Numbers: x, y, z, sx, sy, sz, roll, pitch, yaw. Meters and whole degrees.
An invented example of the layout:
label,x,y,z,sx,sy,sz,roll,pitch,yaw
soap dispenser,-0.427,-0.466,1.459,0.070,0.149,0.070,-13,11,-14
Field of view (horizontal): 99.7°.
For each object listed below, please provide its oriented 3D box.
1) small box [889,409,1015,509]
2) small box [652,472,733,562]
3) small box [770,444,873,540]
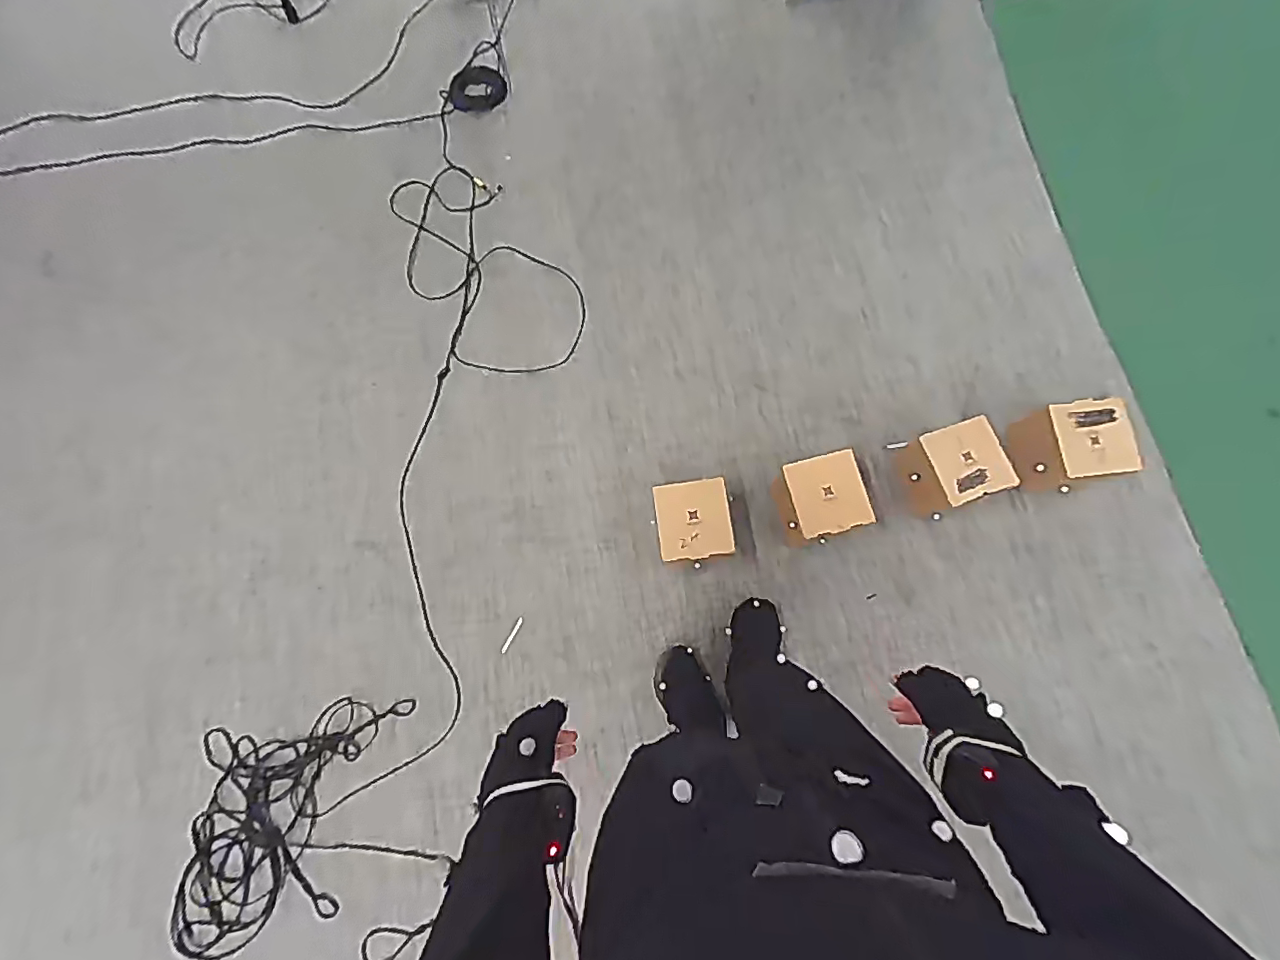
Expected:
label,x,y,z,sx,sy,sz,roll,pitch,yaw
small box,0.730,-0.040,1.286,0.168,0.176,0.179,-19,76,-2
small box,0.121,0.094,1.290,0.168,0.176,0.179,-8,77,2
small box,0.421,0.034,1.287,0.168,0.176,0.179,-15,77,0
